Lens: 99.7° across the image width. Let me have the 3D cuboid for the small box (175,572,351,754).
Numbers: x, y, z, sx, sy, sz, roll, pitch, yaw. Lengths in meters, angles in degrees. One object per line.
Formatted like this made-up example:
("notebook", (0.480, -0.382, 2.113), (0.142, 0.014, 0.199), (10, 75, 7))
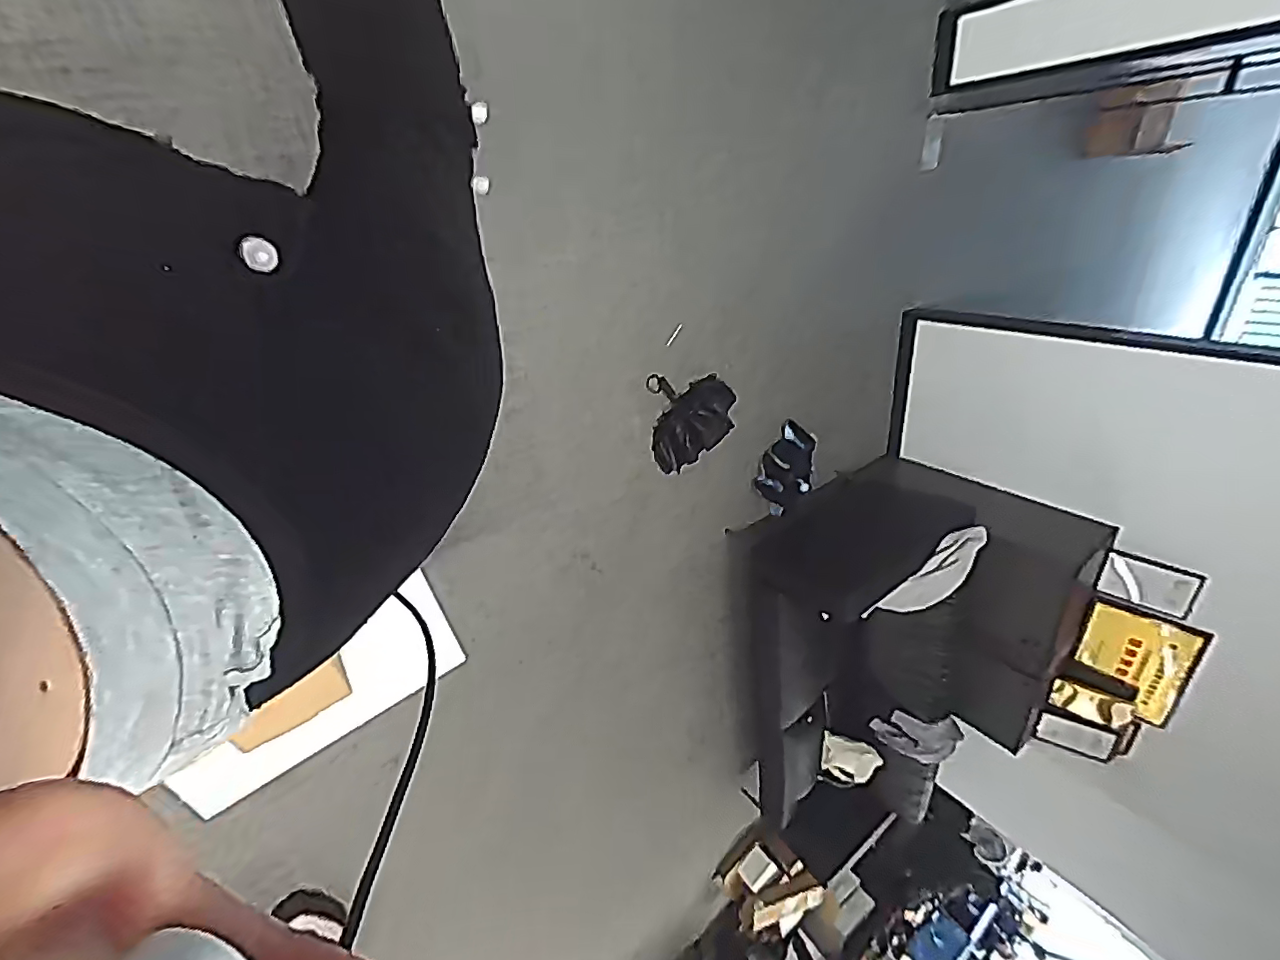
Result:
("small box", (-0.594, 0.282, 0.863), (0.168, 0.176, 0.179), (-28, 127, -26))
